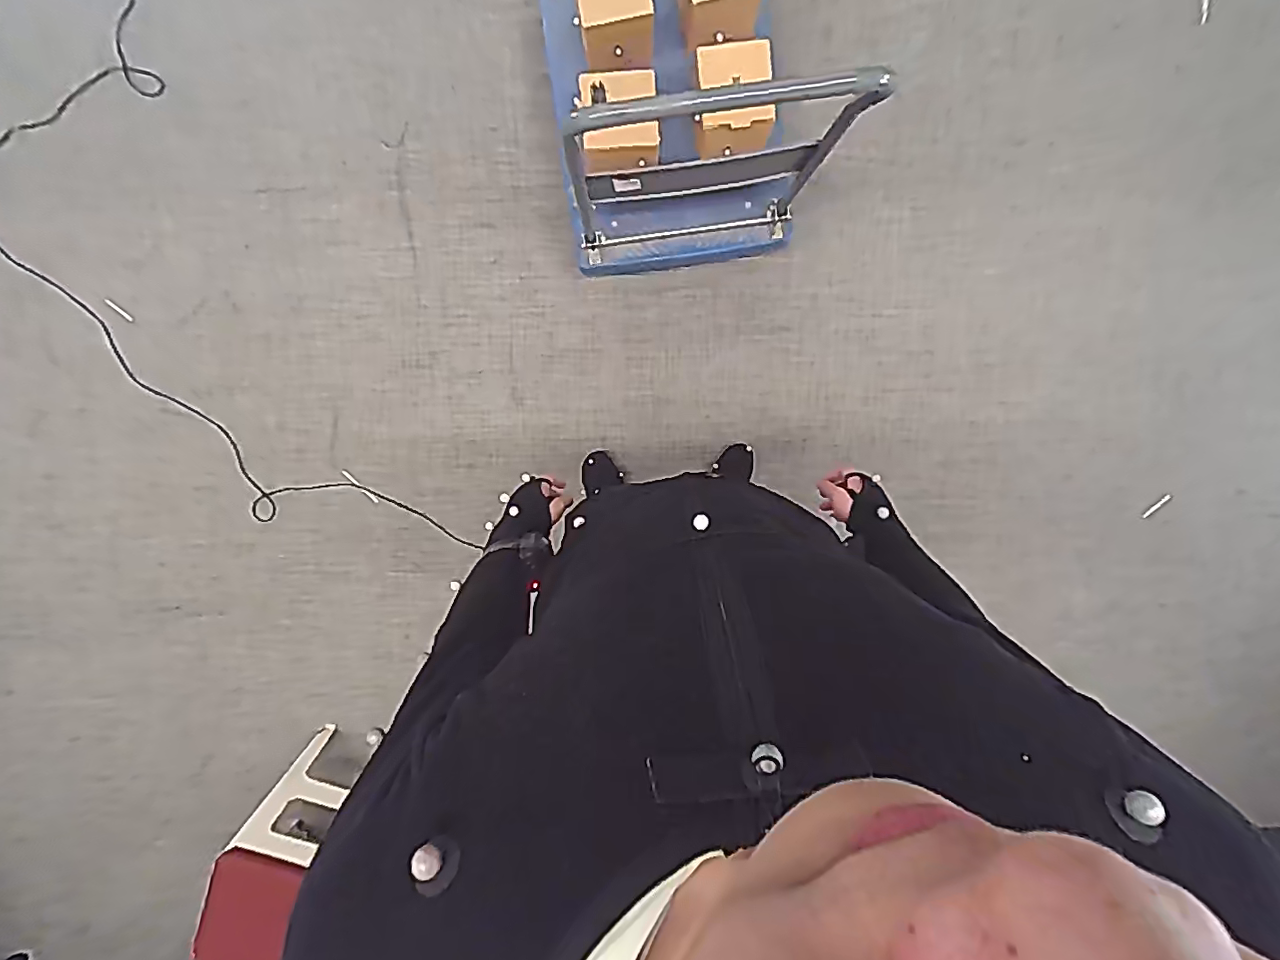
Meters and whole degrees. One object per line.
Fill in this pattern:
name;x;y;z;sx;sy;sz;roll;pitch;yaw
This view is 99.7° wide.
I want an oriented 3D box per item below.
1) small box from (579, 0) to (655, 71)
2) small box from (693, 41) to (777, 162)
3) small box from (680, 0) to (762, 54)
small box;-0.058;-1.129;1.301;0.168;0.176;0.179;-11;94;1
small box;0.225;-0.912;1.315;0.168;0.176;0.179;-7;95;1
small box;0.188;-1.179;1.292;0.168;0.176;0.179;-11;95;3
